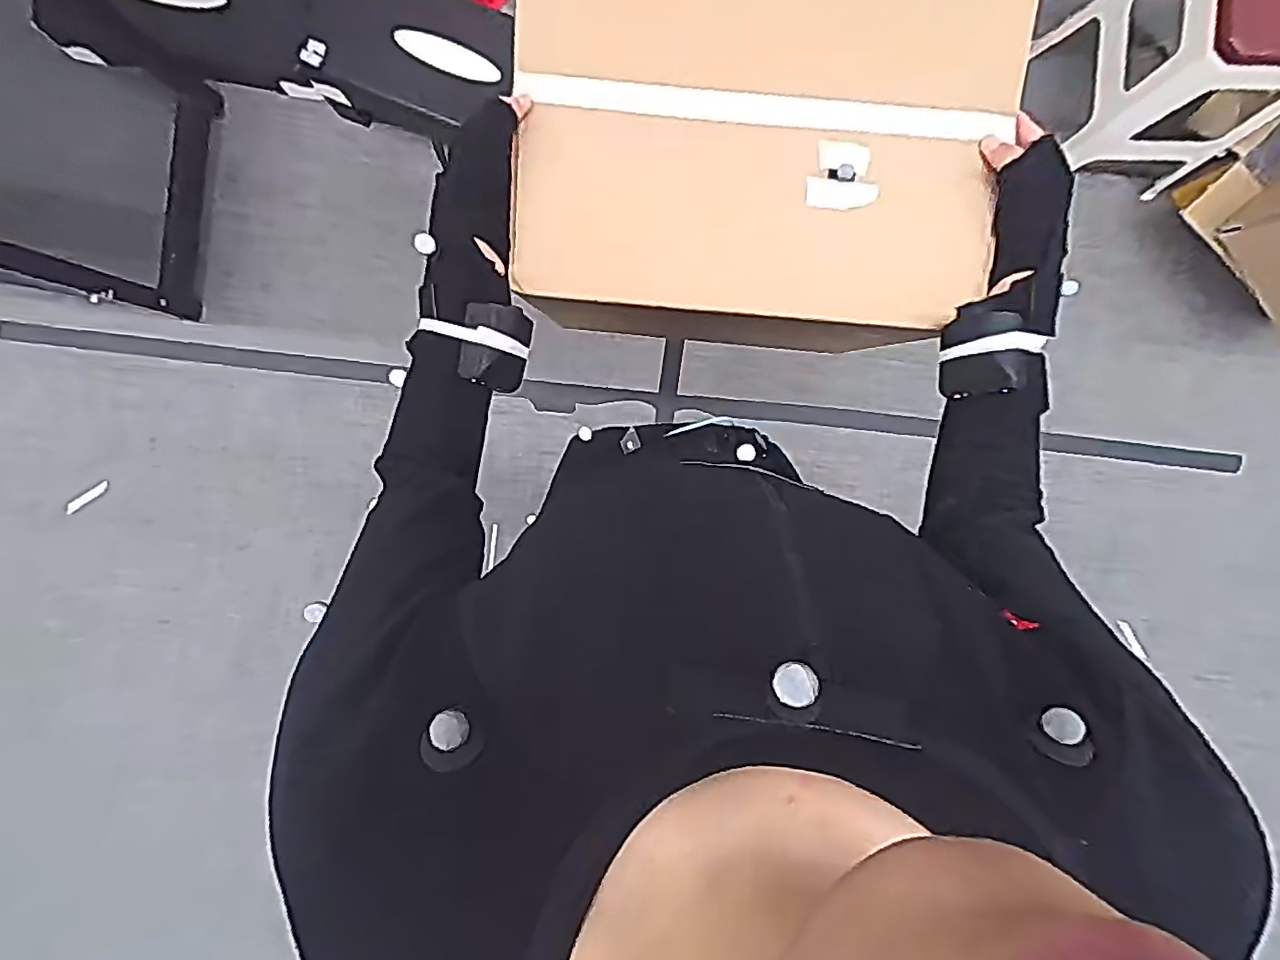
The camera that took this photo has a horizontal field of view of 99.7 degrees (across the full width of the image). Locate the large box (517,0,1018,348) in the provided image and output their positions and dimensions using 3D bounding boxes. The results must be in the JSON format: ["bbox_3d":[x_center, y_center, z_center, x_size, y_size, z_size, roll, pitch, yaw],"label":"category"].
[{"bbox_3d":[0.096,-0.325,0.596,0.408,0.320,0.320,5,101,-2],"label":"large box"}]
